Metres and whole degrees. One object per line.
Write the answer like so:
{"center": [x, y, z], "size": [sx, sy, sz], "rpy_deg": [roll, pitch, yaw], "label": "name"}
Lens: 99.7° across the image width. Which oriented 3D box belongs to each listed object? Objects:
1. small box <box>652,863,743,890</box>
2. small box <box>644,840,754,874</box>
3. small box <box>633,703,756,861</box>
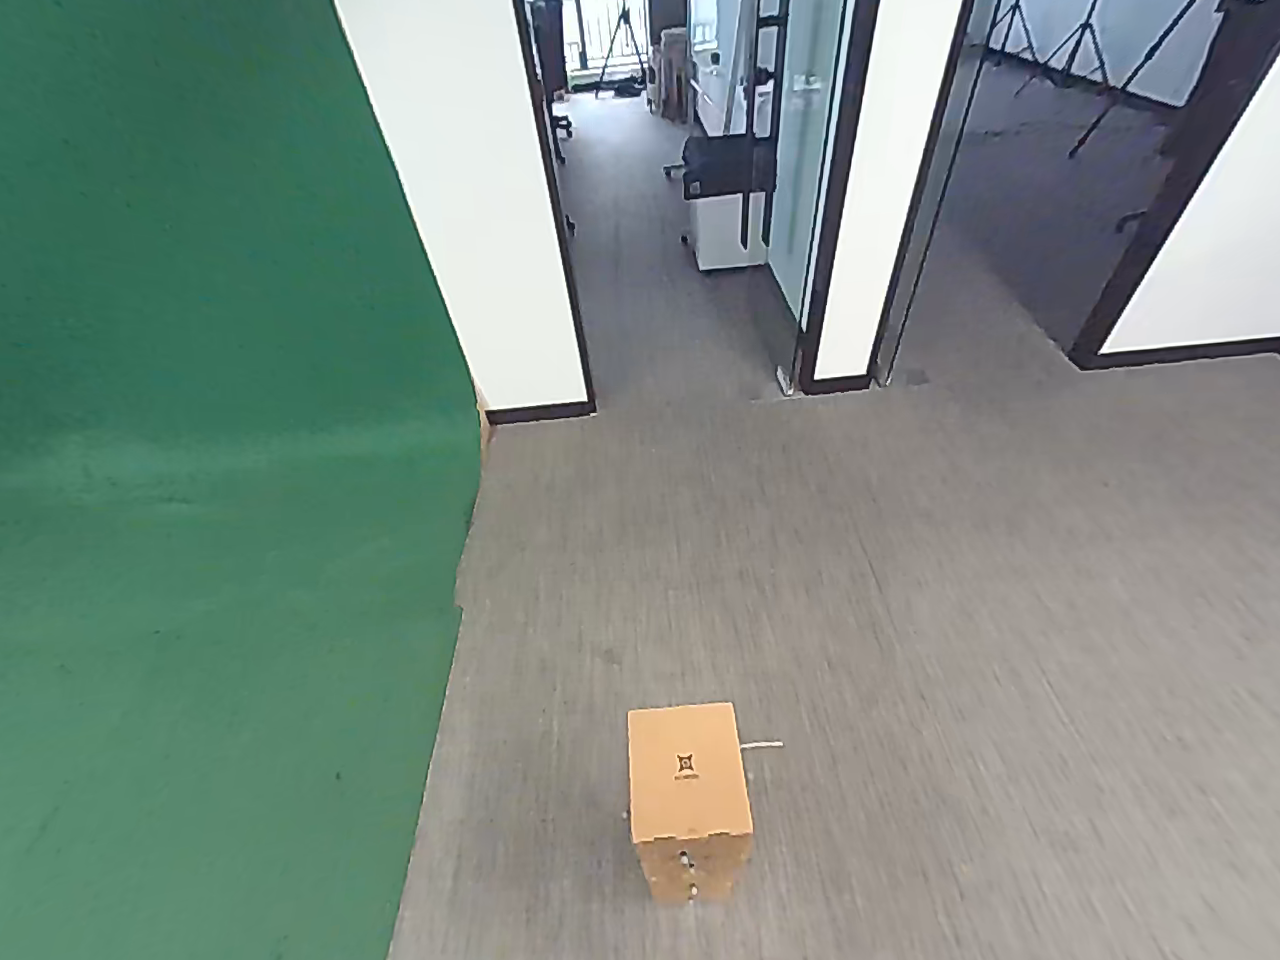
{"center": [0.102, 0.693, 1.081], "size": [0.168, 0.176, 0.179], "rpy_deg": [-8, 47, 0], "label": "small box"}
{"center": [0.095, 0.583, 0.960], "size": [0.179, 0.176, 0.168], "rpy_deg": [-7, 46, 1], "label": "small box"}
{"center": [0.078, 0.471, 0.843], "size": [0.168, 0.176, 0.179], "rpy_deg": [-6, 47, 2], "label": "small box"}
